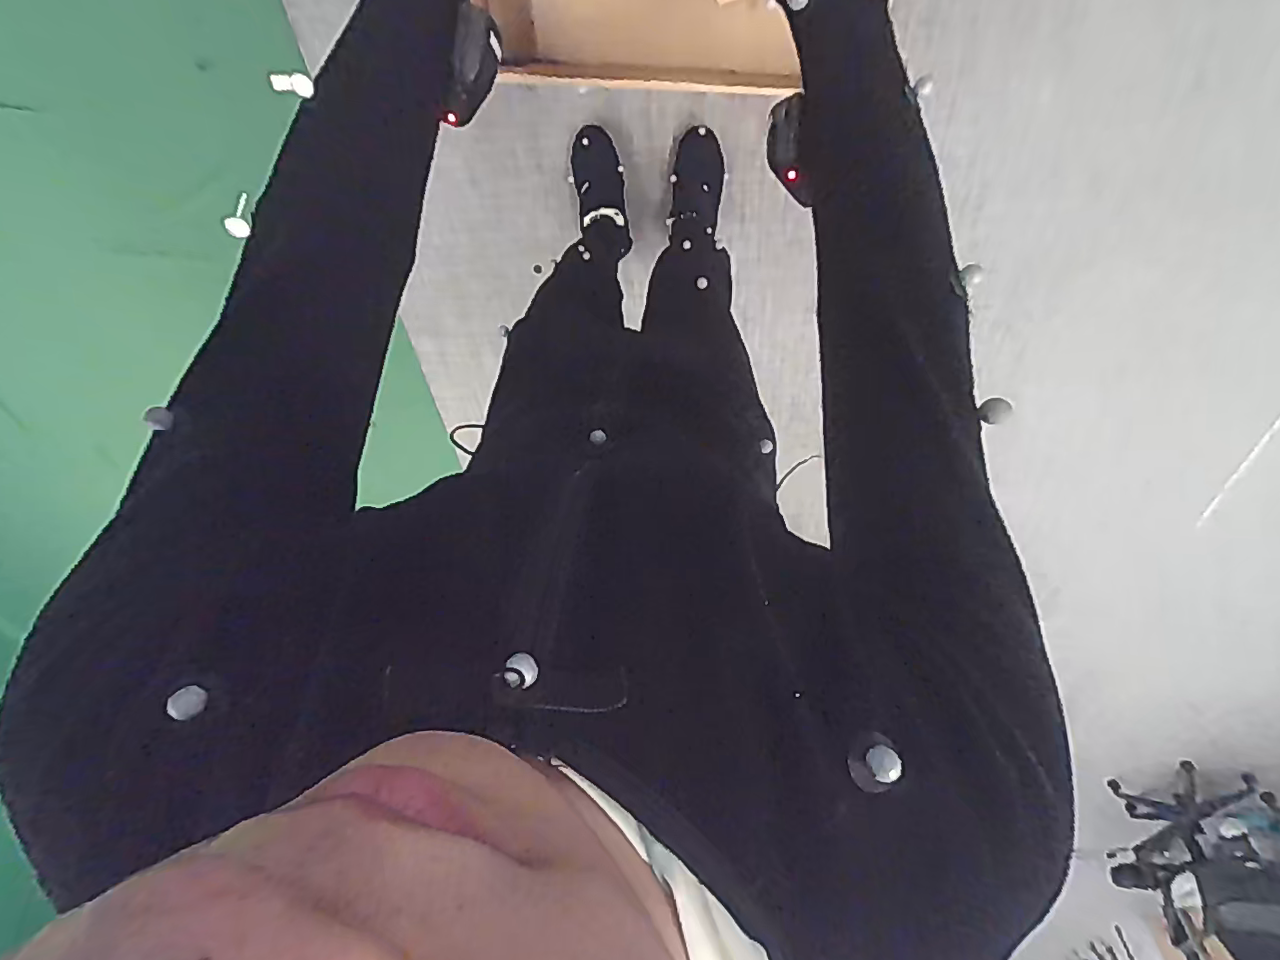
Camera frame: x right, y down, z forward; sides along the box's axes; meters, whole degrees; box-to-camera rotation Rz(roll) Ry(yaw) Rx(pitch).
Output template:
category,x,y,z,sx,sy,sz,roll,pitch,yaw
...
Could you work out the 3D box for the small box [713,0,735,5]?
category,x,y,z,sx,sy,sz,roll,pitch,yaw
small box,0.145,-0.649,0.581,0.168,0.176,0.179,-9,127,14
